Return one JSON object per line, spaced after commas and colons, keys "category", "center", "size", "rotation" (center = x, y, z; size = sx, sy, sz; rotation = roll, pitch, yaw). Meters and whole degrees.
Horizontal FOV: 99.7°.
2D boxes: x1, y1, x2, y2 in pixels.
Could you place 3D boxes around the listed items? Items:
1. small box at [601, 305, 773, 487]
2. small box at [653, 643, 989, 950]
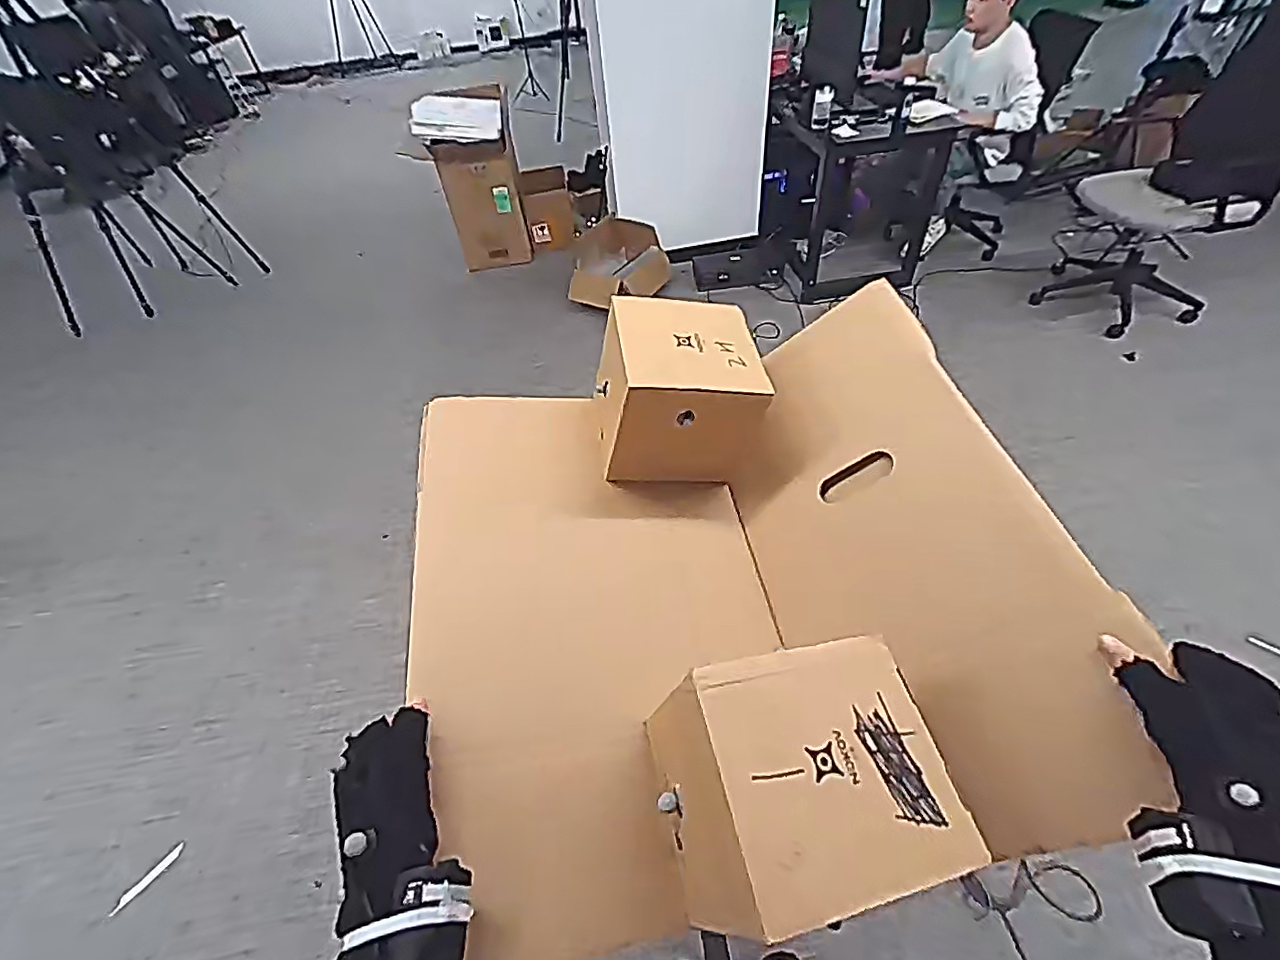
{"category": "small box", "center": [0.045, -0.103, 0.707], "size": [0.179, 0.176, 0.168], "rotation": [1, 53, -14]}
{"category": "small box", "center": [0.125, 0.254, 0.451], "size": [0.179, 0.176, 0.168], "rotation": [-5, 55, -16]}
